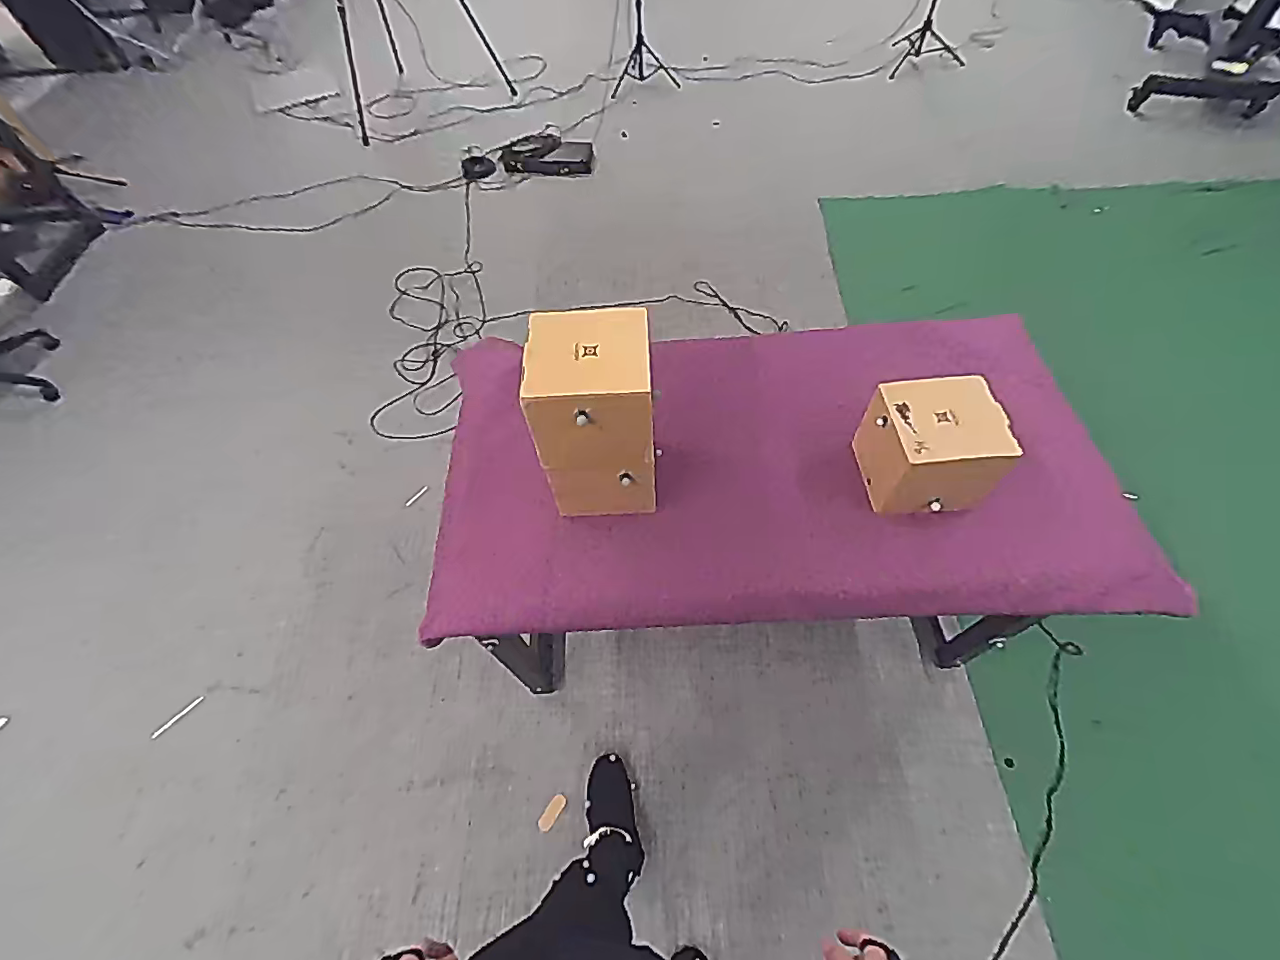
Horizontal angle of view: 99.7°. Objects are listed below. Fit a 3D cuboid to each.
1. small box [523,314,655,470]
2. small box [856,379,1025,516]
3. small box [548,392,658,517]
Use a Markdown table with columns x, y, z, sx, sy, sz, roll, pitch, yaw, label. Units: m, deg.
| x | y | z | sx | sy | sz | roll | pitch | yaw | label |
| --- | --- | --- | --- | --- | --- | --- | --- | --- | --- |
| -0.066 | -0.128 | 0.823 | 0.179 | 0.176 | 0.168 | -3 | 58 | 3 | small box |
| 0.497 | -0.051 | 0.924 | 0.179 | 0.176 | 0.168 | -4 | 57 | 2 | small box |
| -0.057 | -0.044 | 0.961 | 0.179 | 0.176 | 0.168 | -3 | 57 | 2 | small box |
